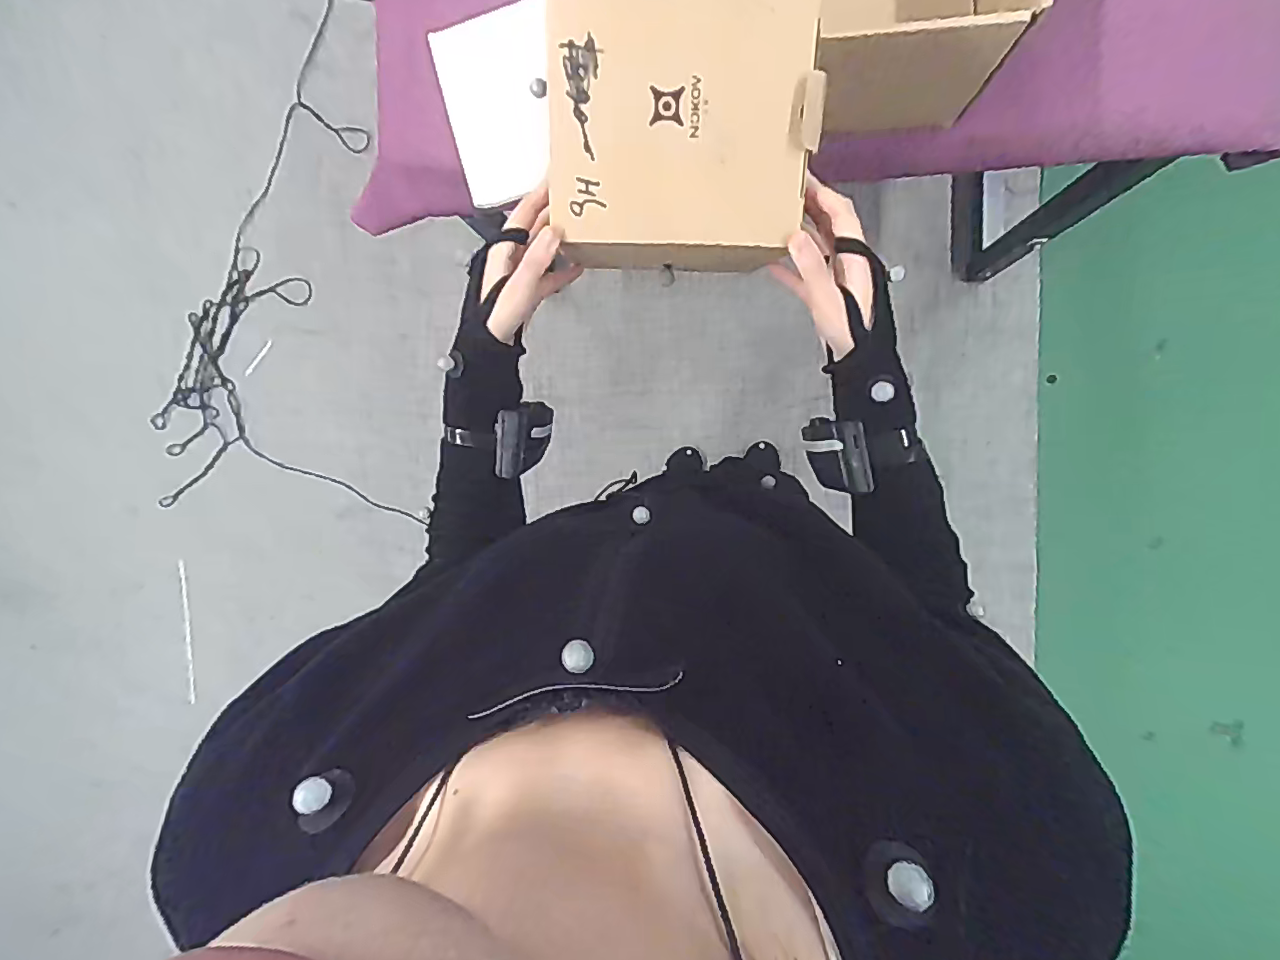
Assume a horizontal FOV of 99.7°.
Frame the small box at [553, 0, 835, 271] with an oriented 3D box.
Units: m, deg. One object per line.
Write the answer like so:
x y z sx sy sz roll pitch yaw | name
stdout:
0.028 -0.262 0.423 0.179 0.176 0.168 2 105 -2 | small box
